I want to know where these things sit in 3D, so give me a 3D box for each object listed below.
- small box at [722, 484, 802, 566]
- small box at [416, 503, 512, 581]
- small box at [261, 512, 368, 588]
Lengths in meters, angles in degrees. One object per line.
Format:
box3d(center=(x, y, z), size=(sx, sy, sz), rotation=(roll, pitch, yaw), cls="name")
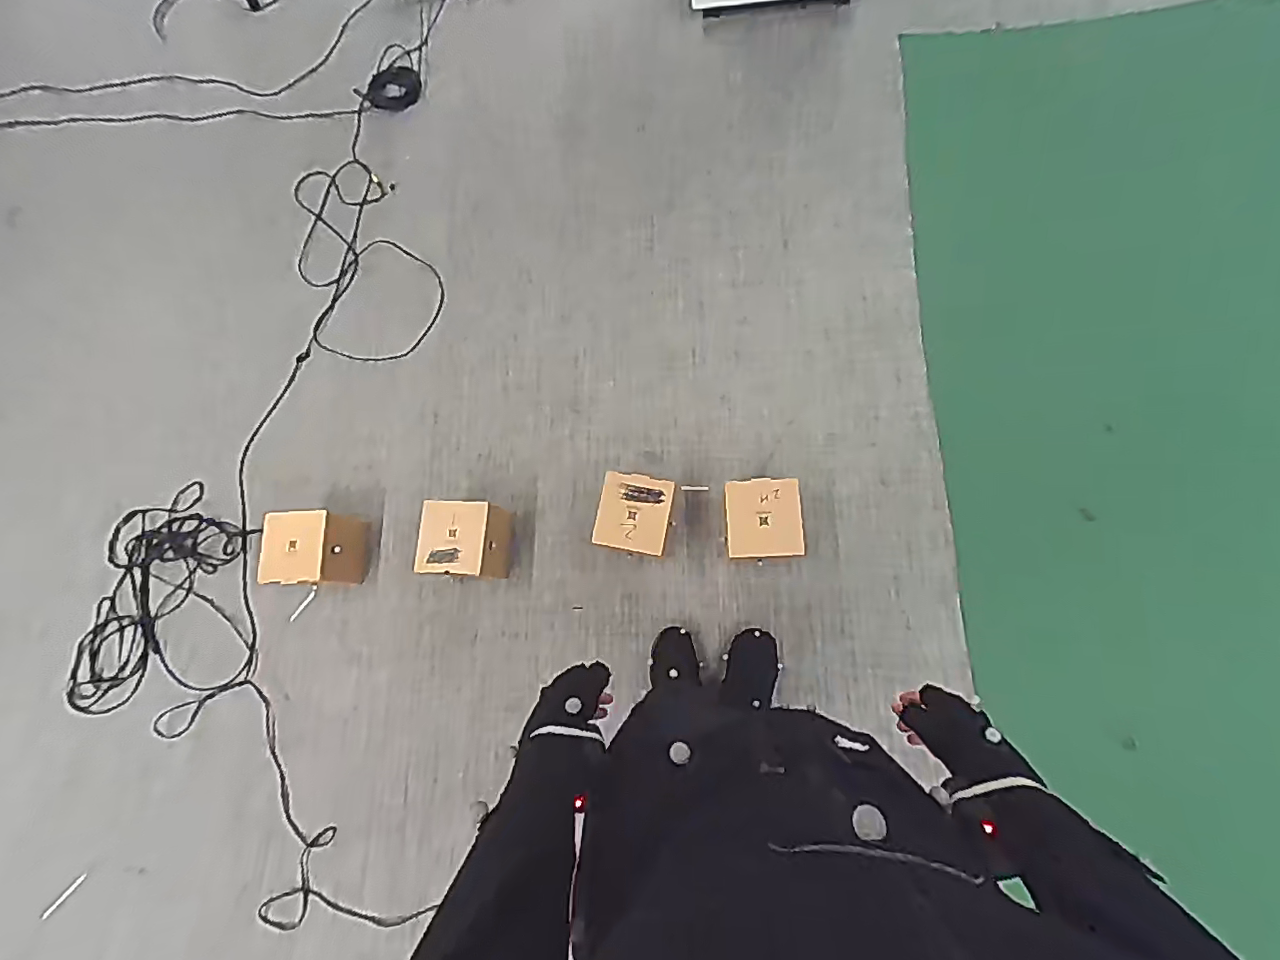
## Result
box3d(center=(0.282, 0.112, 1.279), size=(0.168, 0.176, 0.179), rotation=(-2, 77, 5), cls="small box")
box3d(center=(-0.431, 0.160, 1.353), size=(0.168, 0.176, 0.179), rotation=(2, 77, 8), cls="small box")
box3d(center=(-0.831, 0.186, 1.399), size=(0.168, 0.176, 0.179), rotation=(-3, 77, 7), cls="small box")
